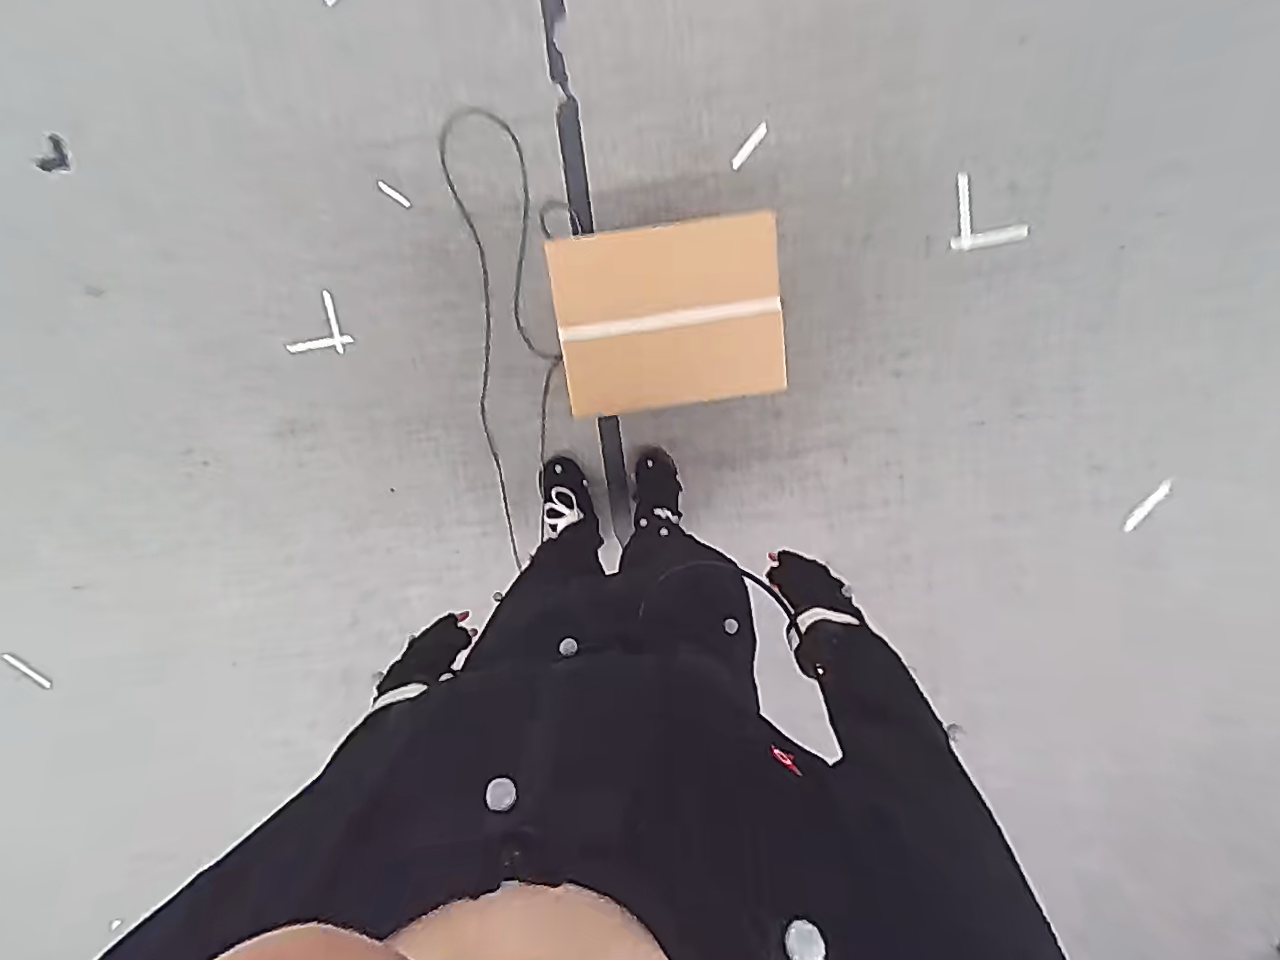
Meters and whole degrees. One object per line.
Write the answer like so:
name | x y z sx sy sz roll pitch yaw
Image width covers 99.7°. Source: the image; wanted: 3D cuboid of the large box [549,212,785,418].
large box | 0.053 -0.329 1.125 0.408 0.320 0.320 -8 103 1
